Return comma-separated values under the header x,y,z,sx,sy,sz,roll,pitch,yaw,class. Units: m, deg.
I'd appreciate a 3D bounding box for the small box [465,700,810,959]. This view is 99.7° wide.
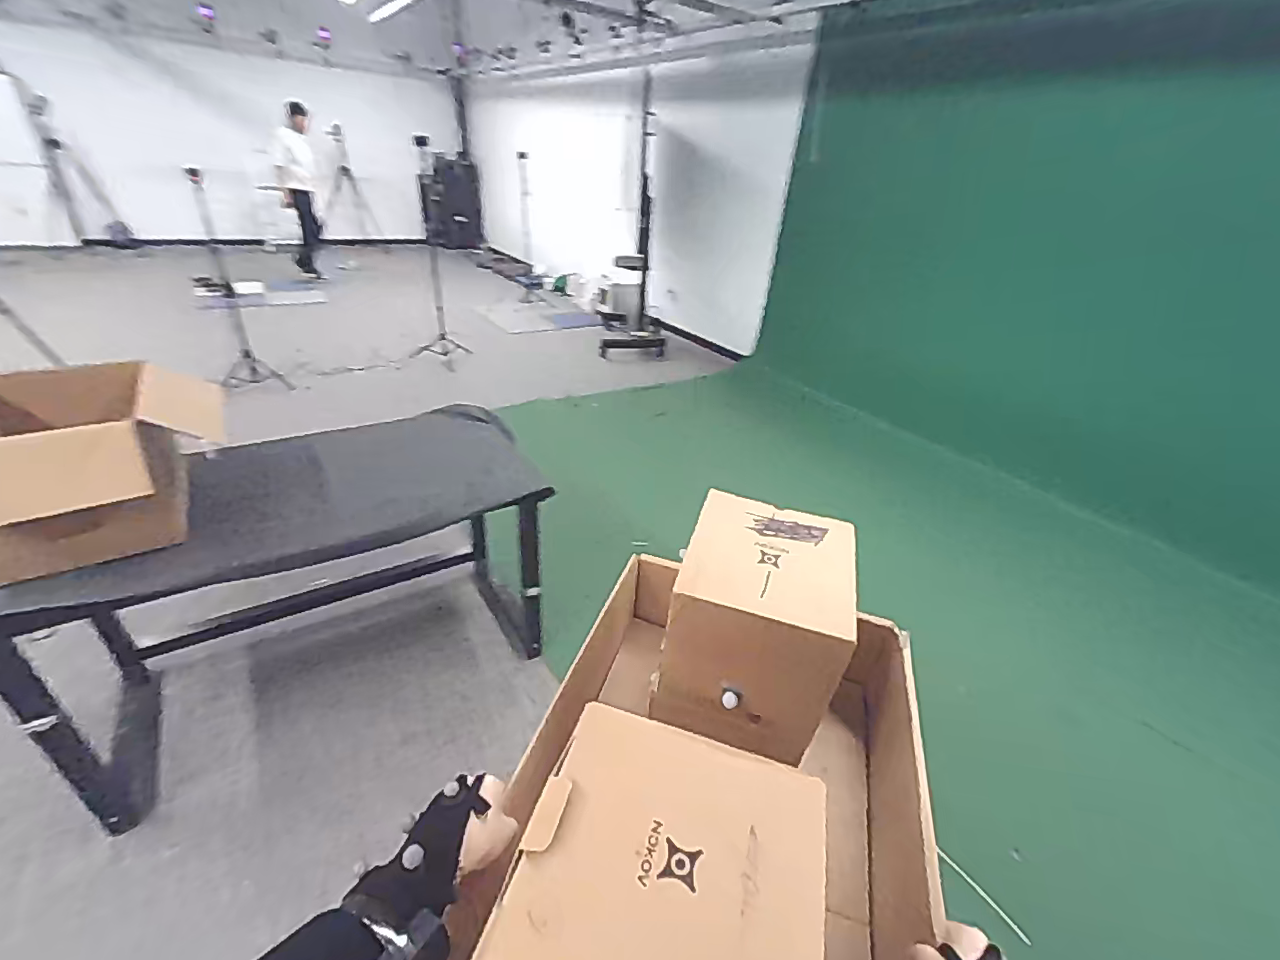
x,y,z,sx,sy,sz,roll,pitch,yaw,class
0.006,0.291,0.369,0.179,0.176,0.168,14,35,10,small box
